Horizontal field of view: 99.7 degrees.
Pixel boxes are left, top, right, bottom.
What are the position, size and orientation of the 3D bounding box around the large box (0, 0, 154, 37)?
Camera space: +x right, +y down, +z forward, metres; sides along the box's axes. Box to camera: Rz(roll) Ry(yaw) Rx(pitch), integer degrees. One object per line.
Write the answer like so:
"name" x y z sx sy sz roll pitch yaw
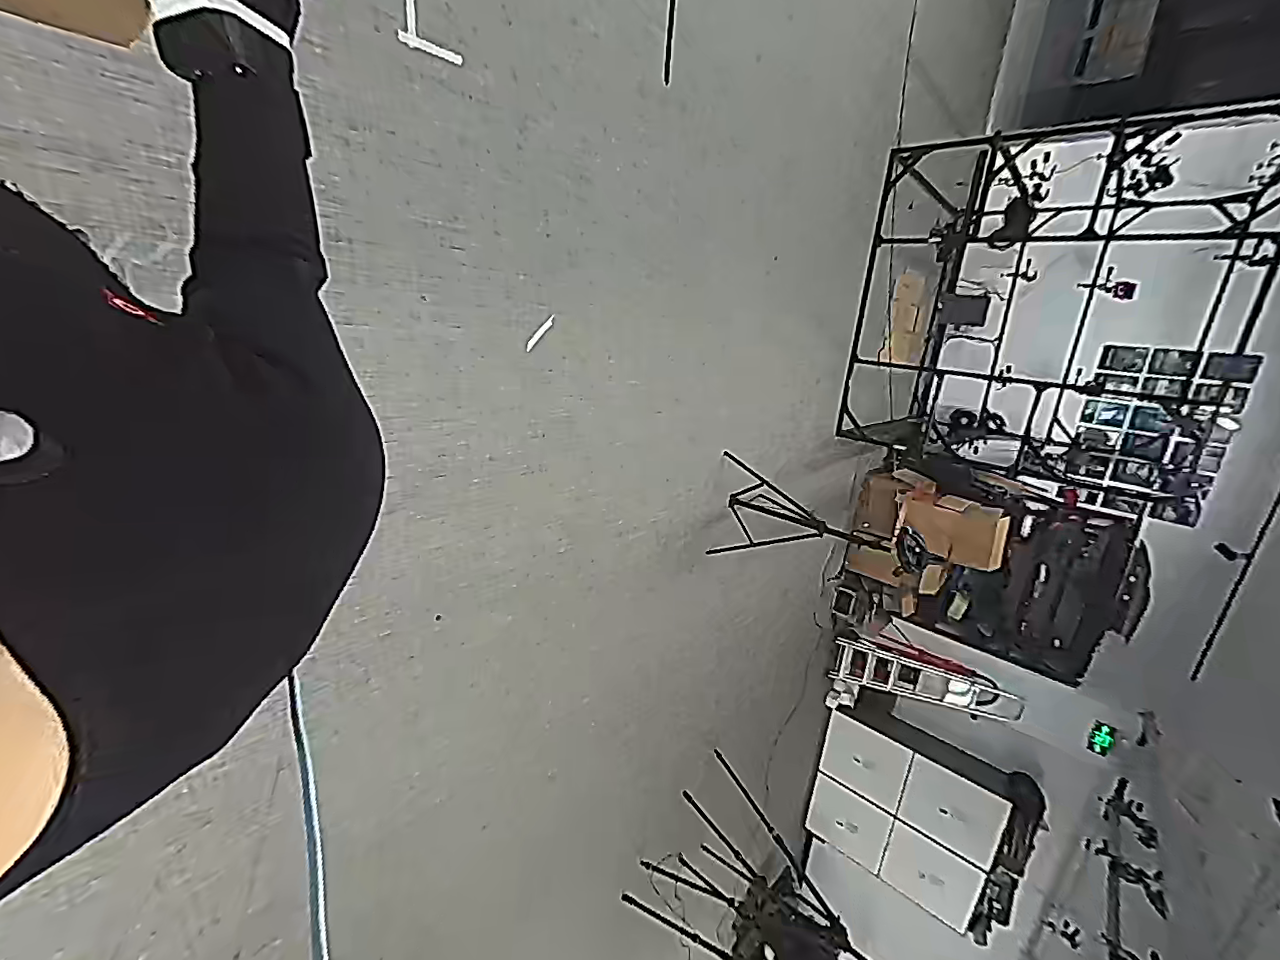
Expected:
"large box" -0.527 -0.500 0.262 0.408 0.320 0.320 -15 121 -47
